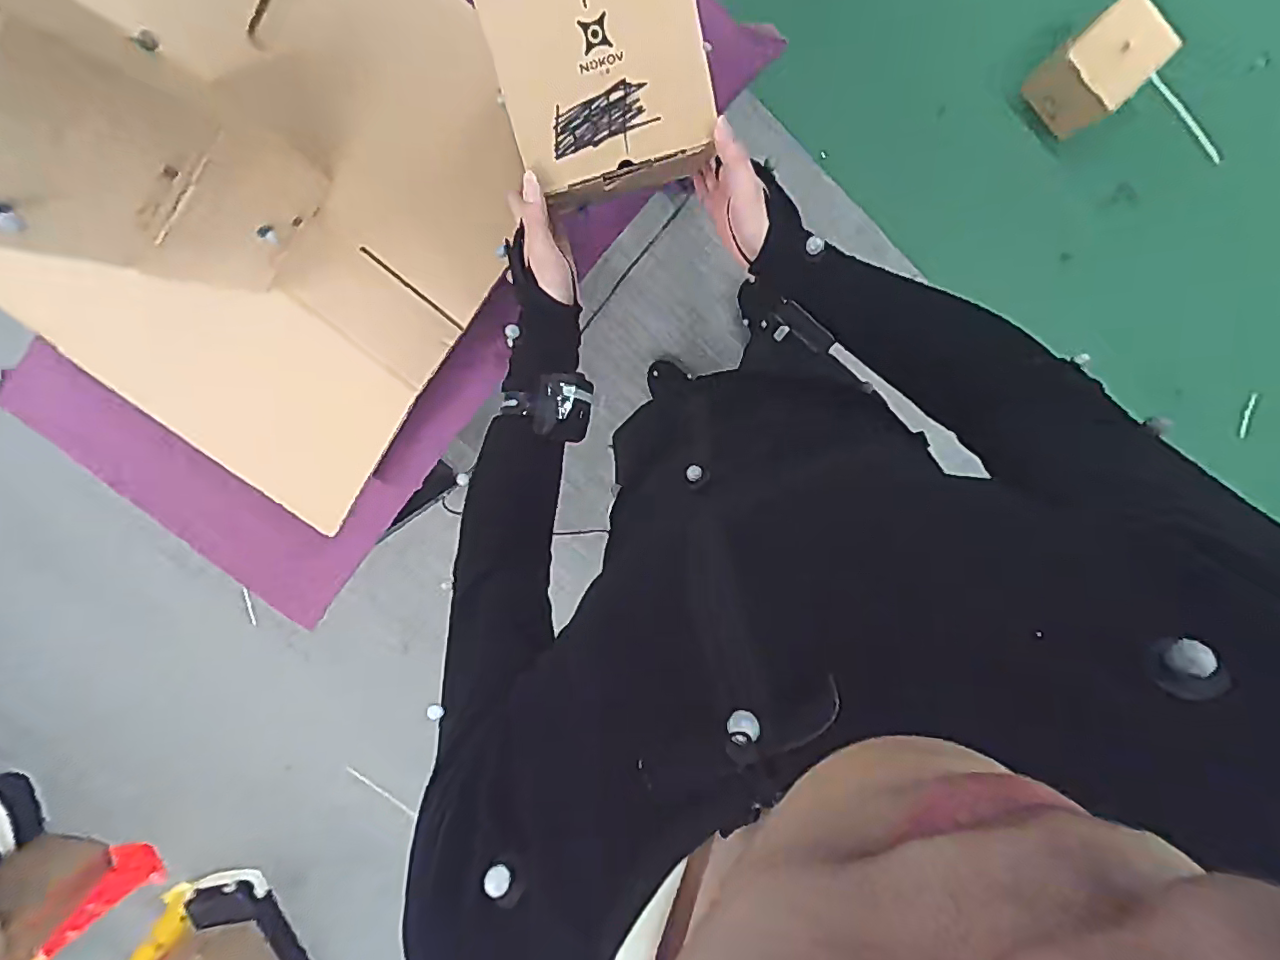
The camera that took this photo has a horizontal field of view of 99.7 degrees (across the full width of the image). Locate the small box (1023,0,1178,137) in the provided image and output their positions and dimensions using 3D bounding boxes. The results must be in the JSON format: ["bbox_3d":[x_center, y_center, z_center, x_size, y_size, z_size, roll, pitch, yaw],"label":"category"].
[{"bbox_3d":[1.044,-0.943,1.244,0.168,0.176,0.179,42,104,-7],"label":"small box"}]

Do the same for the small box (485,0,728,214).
[{"bbox_3d":[-0.026,-0.358,0.497,0.168,0.176,0.179,-14,110,3],"label":"small box"}]
